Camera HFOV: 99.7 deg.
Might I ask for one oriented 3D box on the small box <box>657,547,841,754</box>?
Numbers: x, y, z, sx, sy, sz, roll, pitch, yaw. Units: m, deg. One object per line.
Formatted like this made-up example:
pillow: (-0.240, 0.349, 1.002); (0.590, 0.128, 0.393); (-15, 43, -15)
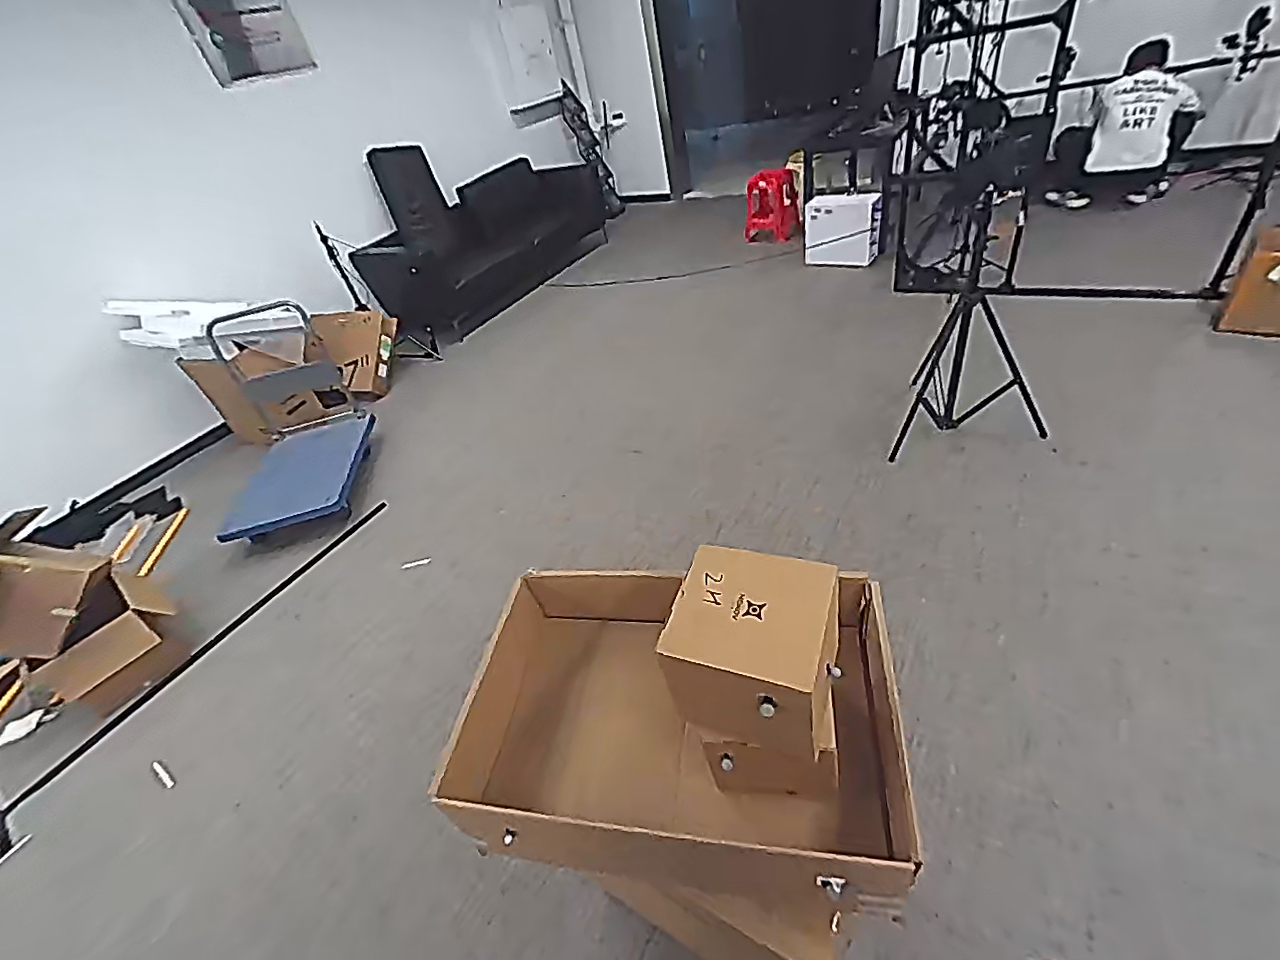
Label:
small box: (0.145, 0.209, 0.668); (0.179, 0.176, 0.168); (6, 44, 27)
